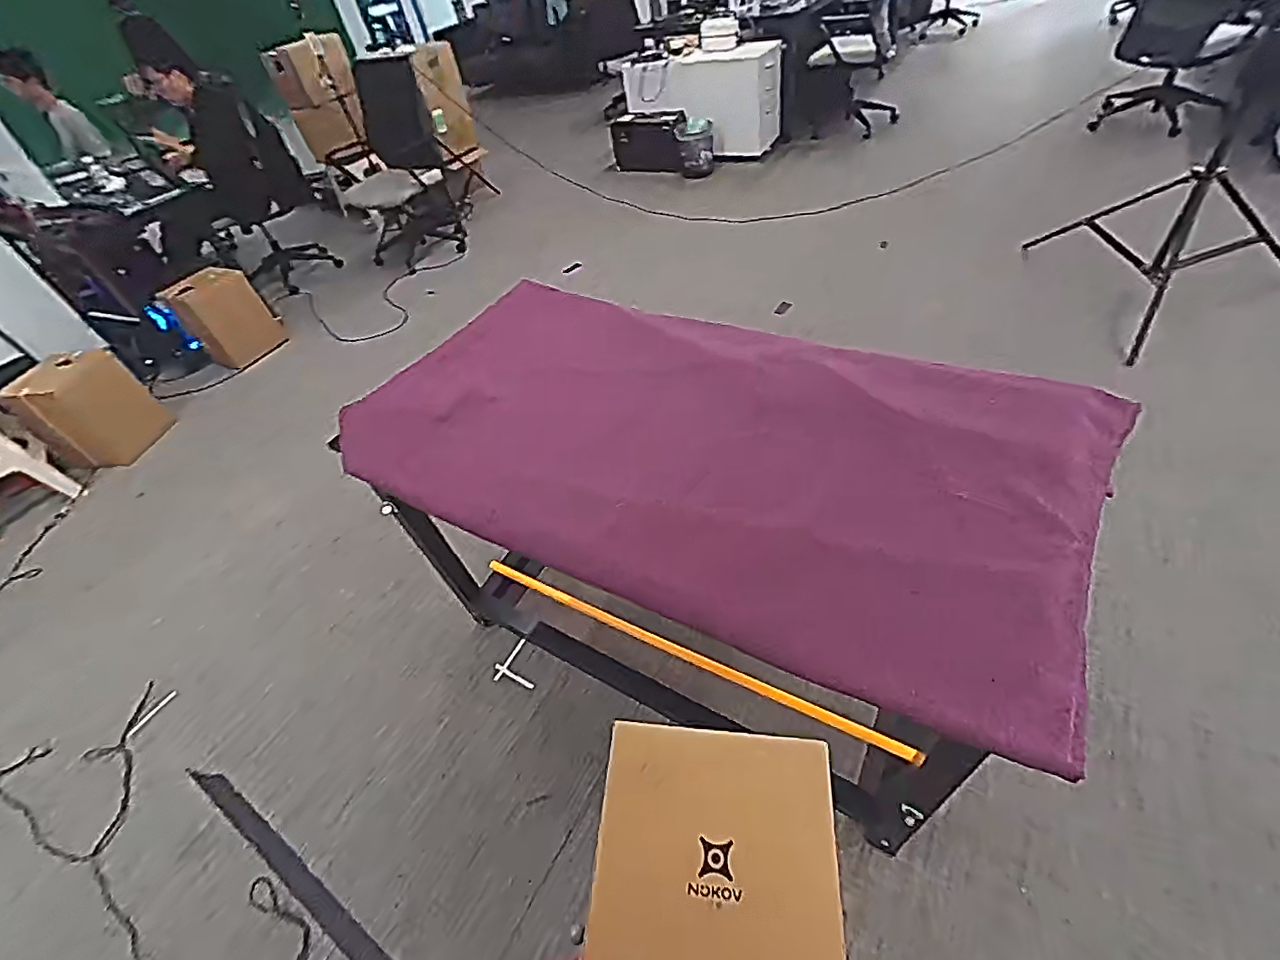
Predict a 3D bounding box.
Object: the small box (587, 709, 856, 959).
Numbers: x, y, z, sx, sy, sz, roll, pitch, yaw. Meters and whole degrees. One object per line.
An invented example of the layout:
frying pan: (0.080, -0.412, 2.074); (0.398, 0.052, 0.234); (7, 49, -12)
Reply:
small box: (0.059, 0.301, 0.426); (0.168, 0.176, 0.179); (3, 53, 7)
